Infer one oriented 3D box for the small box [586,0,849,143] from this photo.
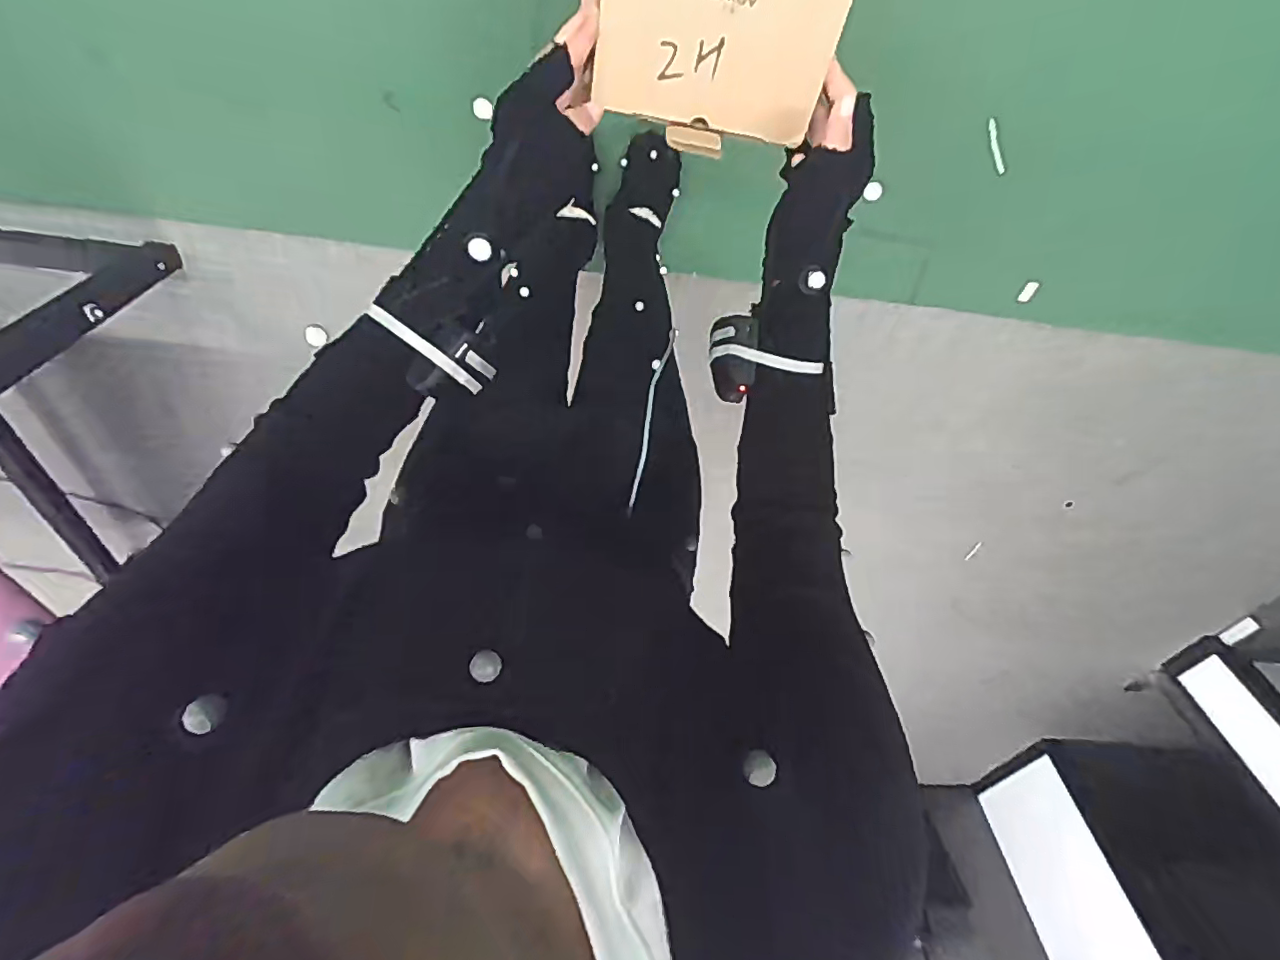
[{"bbox_3d":[0.052,-0.383,0.396,0.168,0.176,0.179,4,136,-11],"label":"small box"}]
